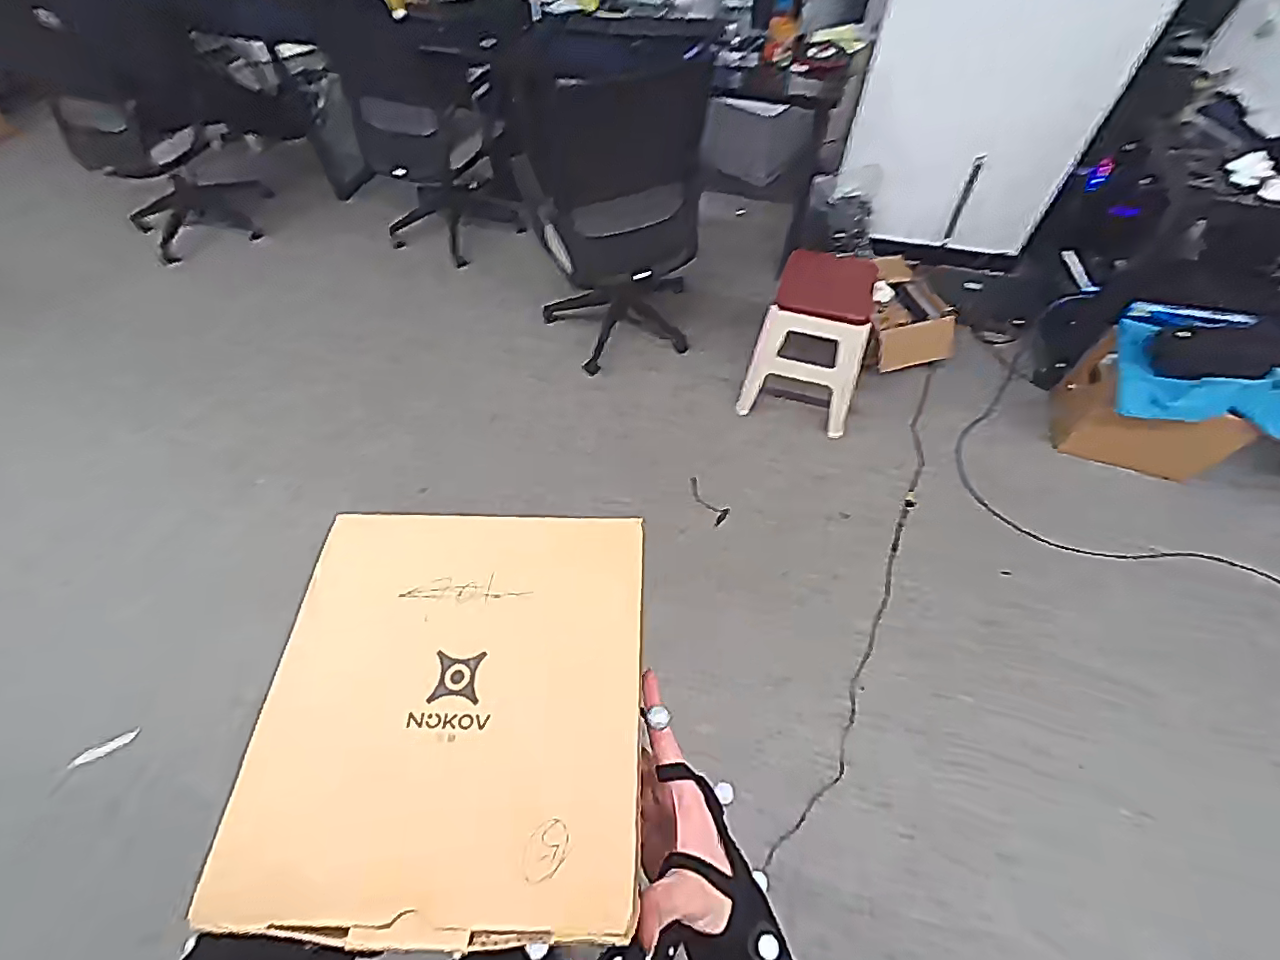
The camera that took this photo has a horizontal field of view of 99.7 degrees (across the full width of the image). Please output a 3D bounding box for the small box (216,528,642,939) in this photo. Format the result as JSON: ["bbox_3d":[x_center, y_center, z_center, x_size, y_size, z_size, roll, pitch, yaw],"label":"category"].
[{"bbox_3d":[-0.083,0.144,0.320,0.168,0.176,0.179,1,56,0],"label":"small box"}]
